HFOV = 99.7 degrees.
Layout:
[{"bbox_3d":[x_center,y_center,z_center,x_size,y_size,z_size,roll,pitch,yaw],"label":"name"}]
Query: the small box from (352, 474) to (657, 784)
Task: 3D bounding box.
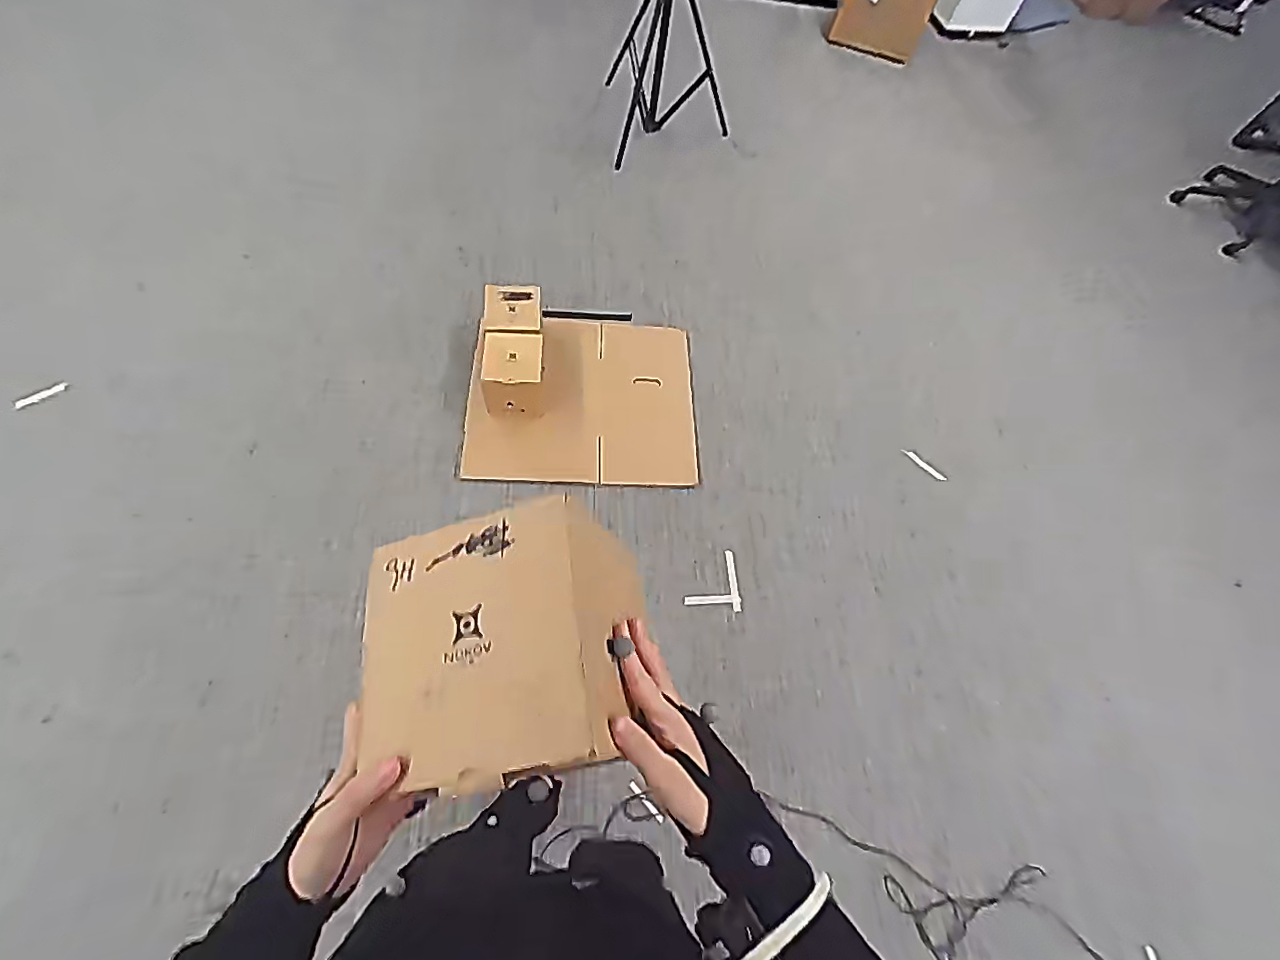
[{"bbox_3d":[-0.094,0.123,0.428,0.168,0.176,0.179,-16,62,10],"label":"small box"}]
